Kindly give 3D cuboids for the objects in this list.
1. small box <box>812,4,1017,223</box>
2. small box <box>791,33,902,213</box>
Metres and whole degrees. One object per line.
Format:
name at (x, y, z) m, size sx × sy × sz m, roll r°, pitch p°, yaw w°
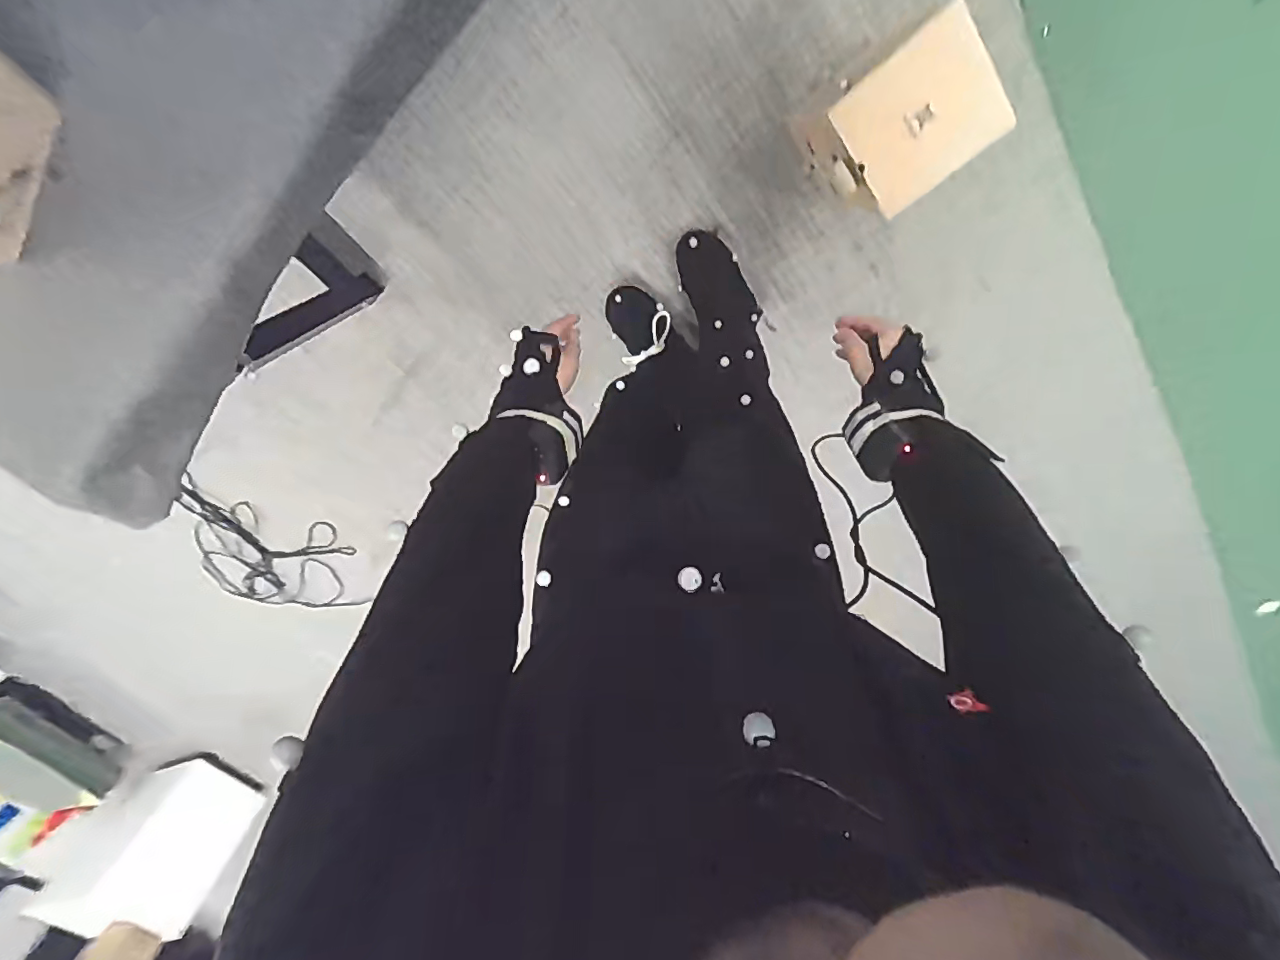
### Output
small box at (0.363, -0.495, 0.748) m, size 0.179 × 0.176 × 0.168 m, roll -34°, pitch 113°, yaw 25°
small box at (0.365, -0.576, 0.892) m, size 0.179 × 0.176 × 0.168 m, roll -33°, pitch 113°, yaw 25°
